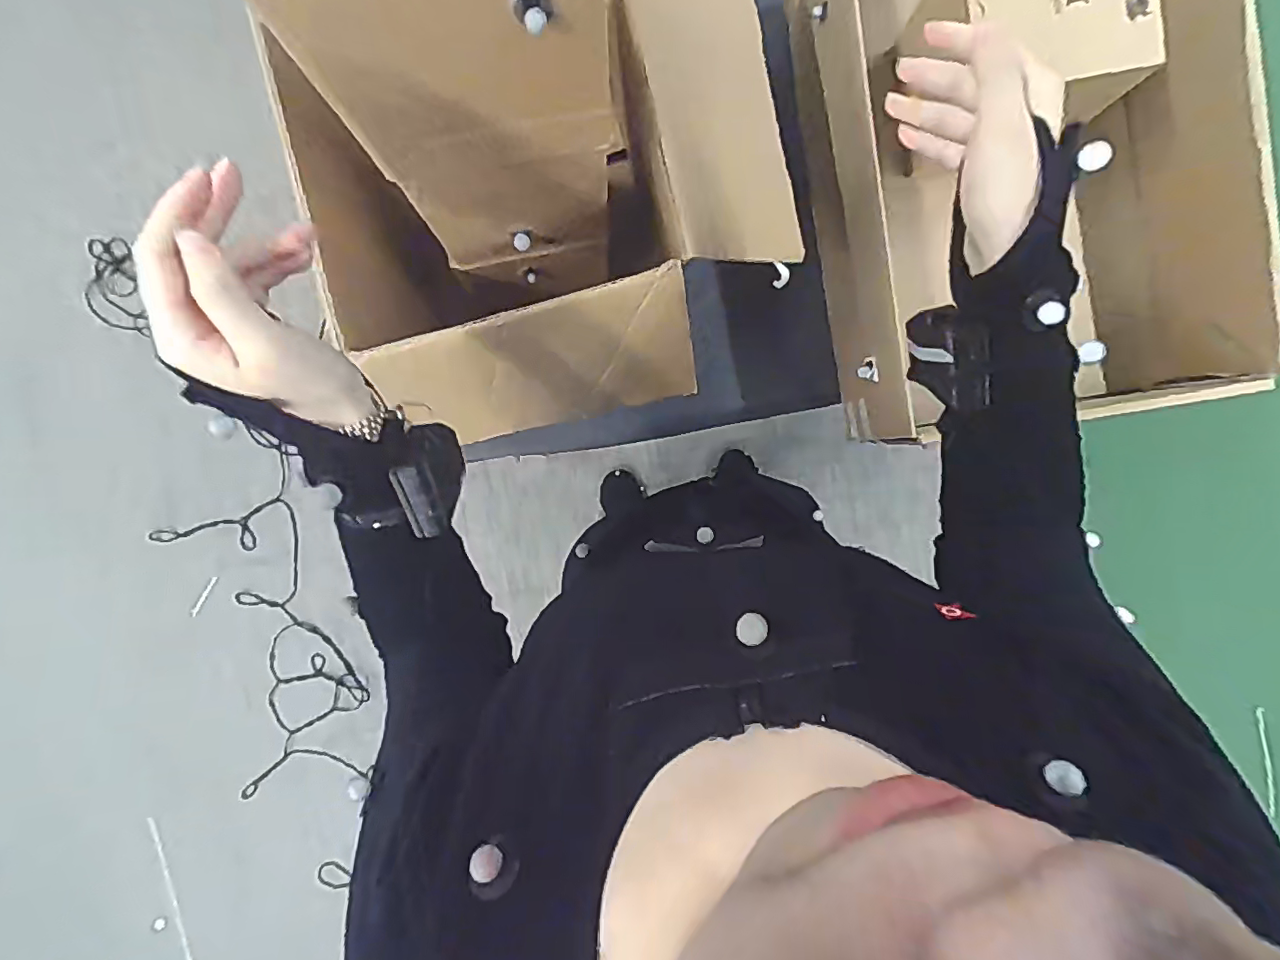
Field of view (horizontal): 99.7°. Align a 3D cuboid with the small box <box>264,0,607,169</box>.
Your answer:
[{"bbox_3d":[-0.119,-0.324,0.336,0.179,0.176,0.168,-11,92,-3],"label":"small box"}]
